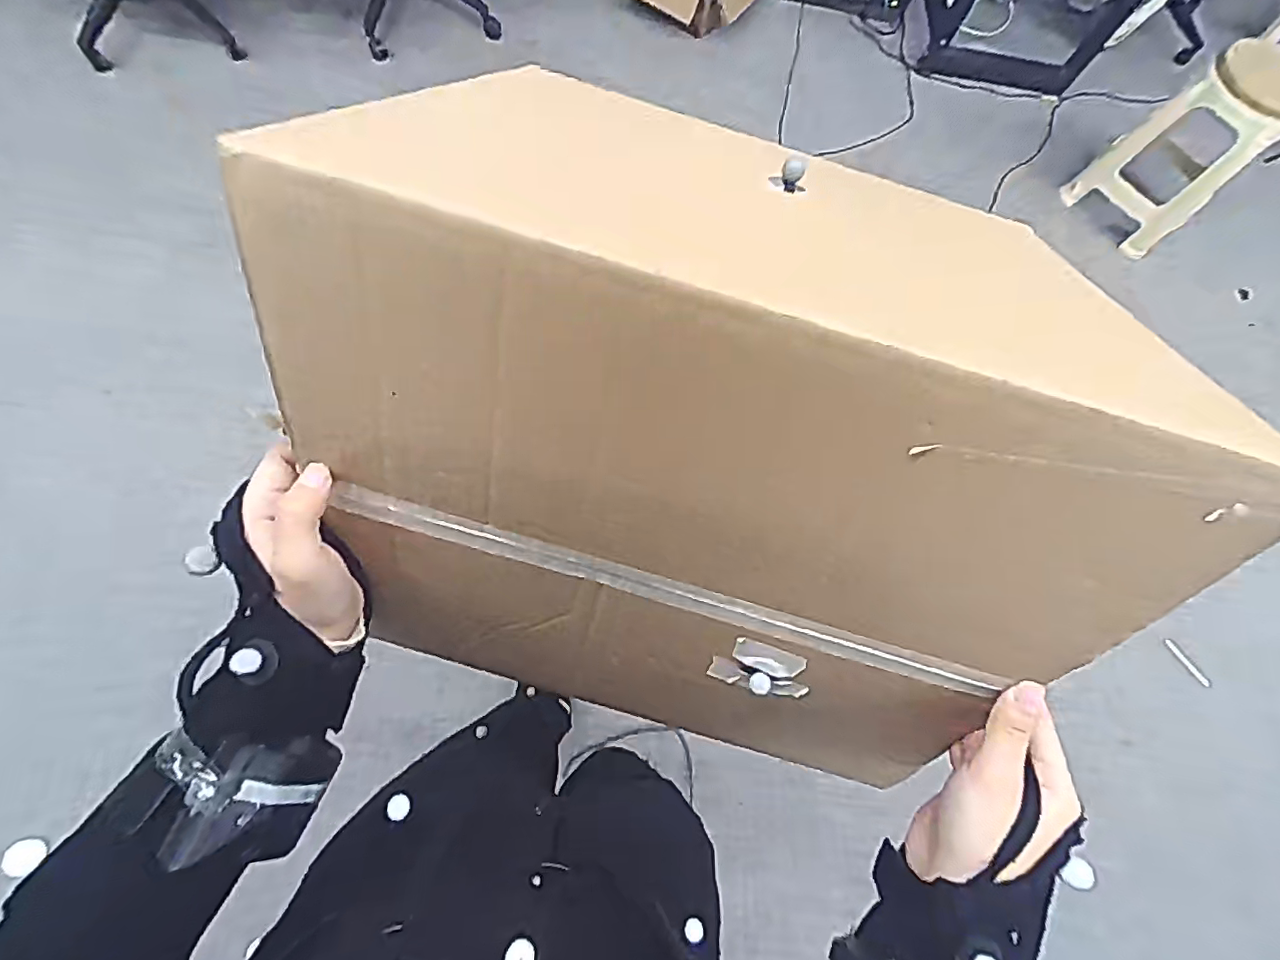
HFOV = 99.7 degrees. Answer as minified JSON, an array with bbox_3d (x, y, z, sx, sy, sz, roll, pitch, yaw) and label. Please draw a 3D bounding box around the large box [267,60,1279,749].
[{"bbox_3d":[0.055,-0.065,0.395,0.408,0.320,0.320,16,43,-1],"label":"large box"}]
